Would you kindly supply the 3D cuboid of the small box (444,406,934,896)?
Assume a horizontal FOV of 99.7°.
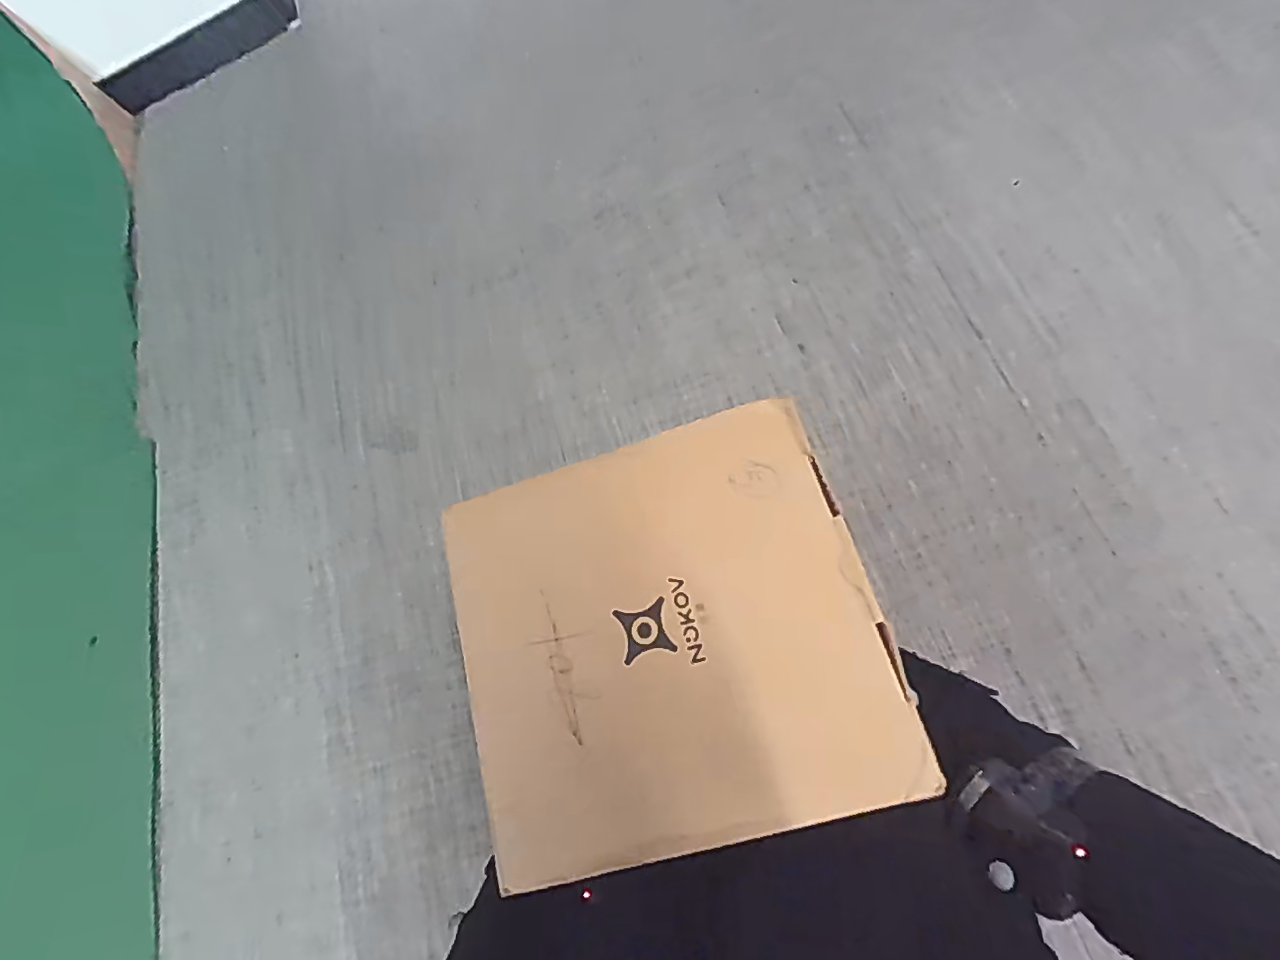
[{"bbox_3d":[0.024,0.086,0.305,0.179,0.176,0.168,-20,71,9],"label":"small box"}]
